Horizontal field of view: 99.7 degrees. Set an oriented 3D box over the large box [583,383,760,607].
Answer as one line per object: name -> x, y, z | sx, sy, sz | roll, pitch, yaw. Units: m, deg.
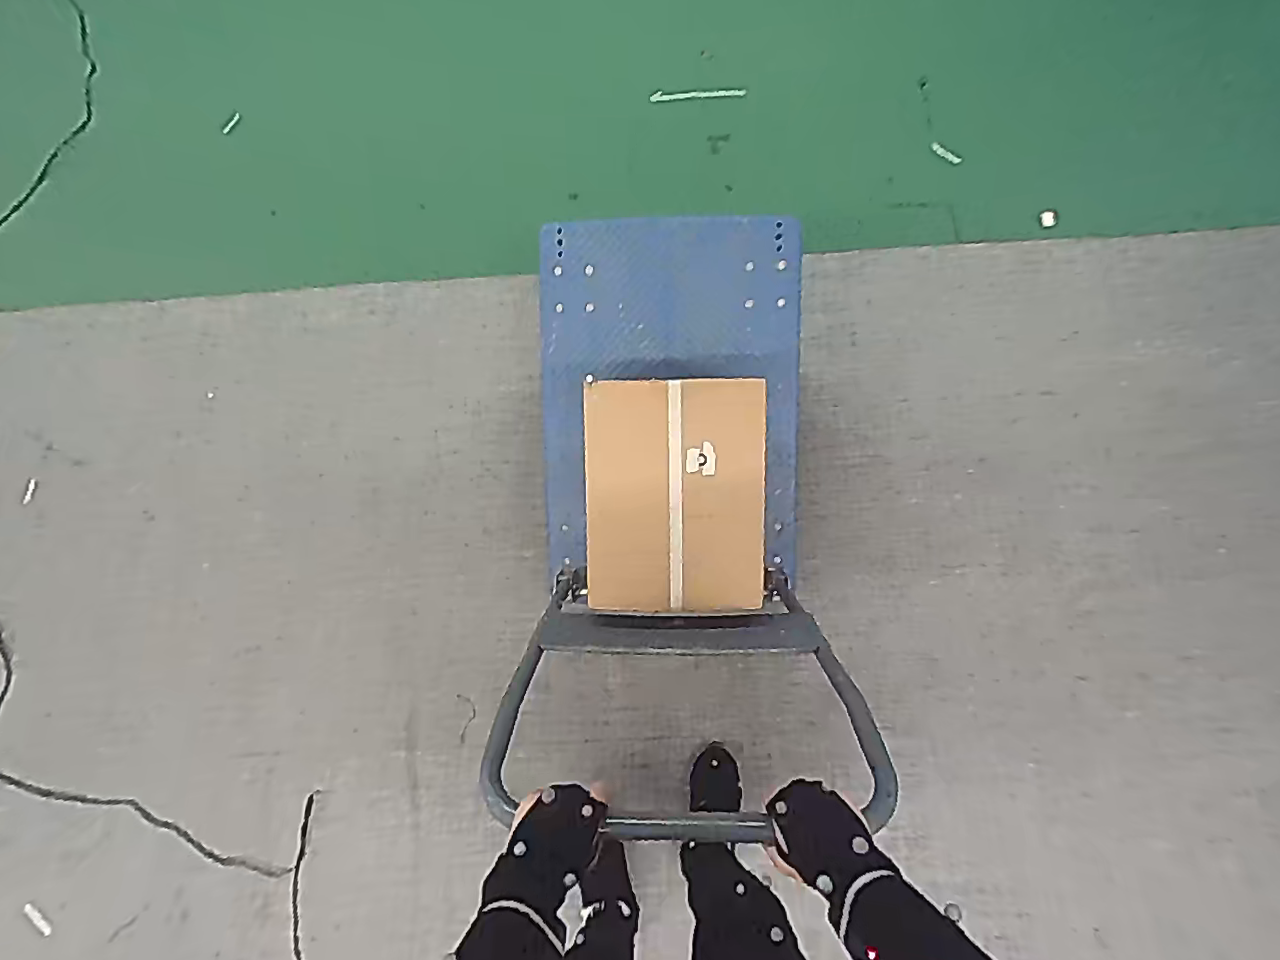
large box -> 0.064, 0.020, 1.112 | 0.320, 0.320, 0.408 | -1, 95, 2
